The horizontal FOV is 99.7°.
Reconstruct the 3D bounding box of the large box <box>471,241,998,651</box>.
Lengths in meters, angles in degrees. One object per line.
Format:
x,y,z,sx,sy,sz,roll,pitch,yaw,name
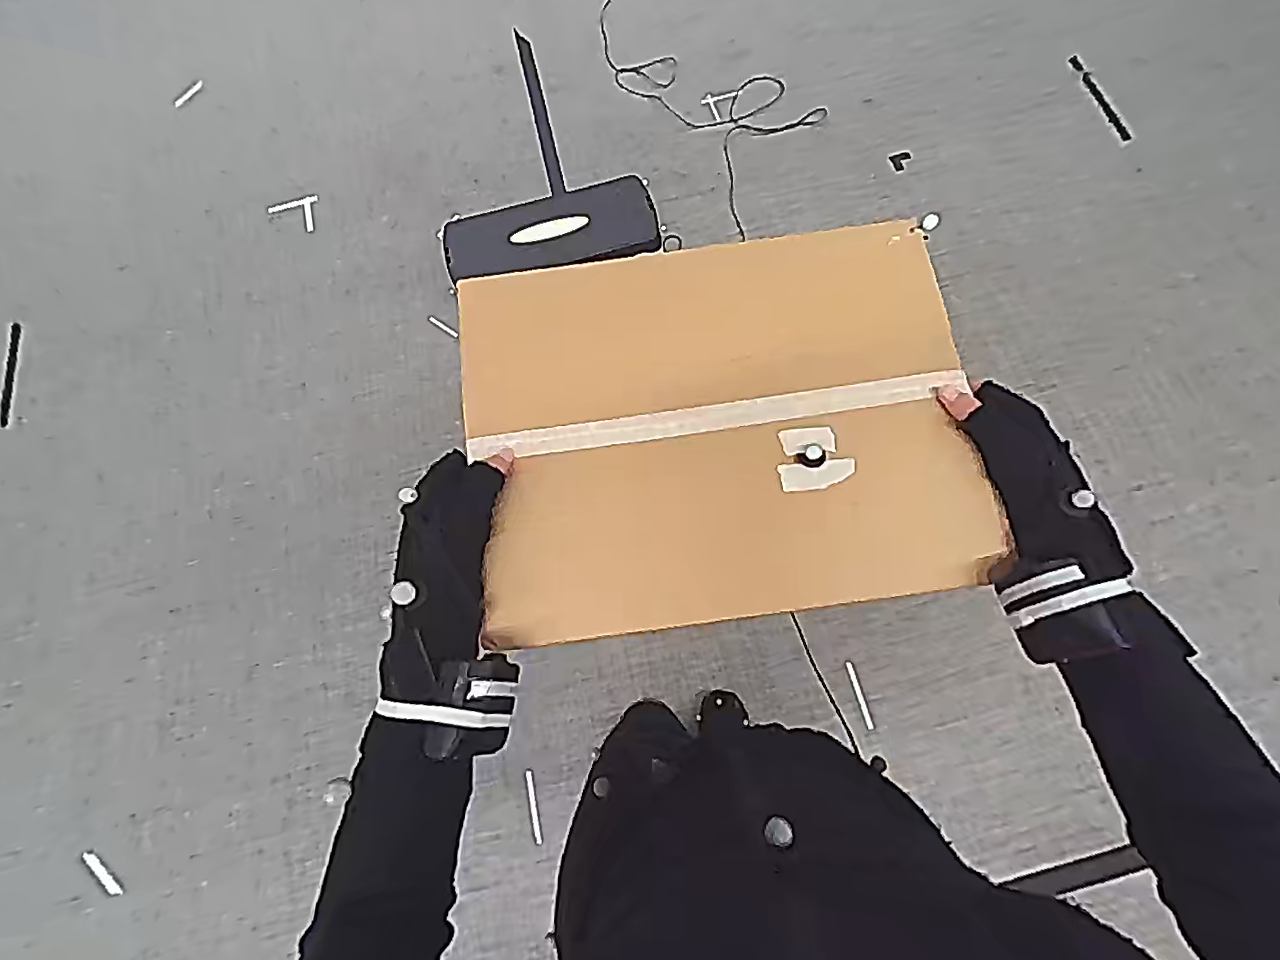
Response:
0.067,-0.006,0.600,0.408,0.320,0.320,-8,76,0,large box
